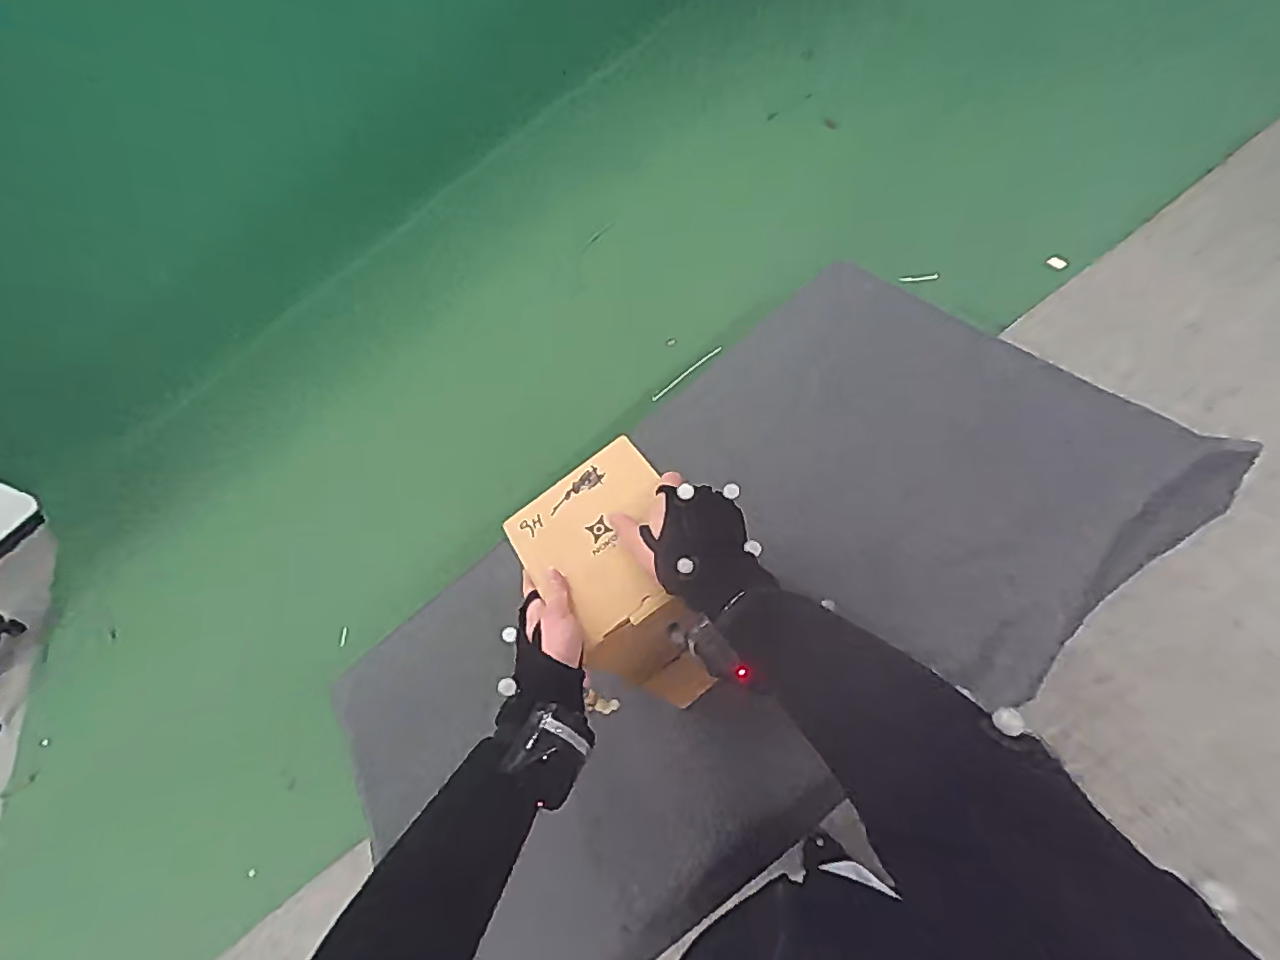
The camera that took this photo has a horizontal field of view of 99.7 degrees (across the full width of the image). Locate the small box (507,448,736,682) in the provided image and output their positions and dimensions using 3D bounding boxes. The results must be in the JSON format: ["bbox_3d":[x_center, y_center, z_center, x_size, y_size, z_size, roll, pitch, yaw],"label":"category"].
[{"bbox_3d":[-0.011,0.104,0.602,0.168,0.176,0.179,-36,57,-4],"label":"small box"}]
